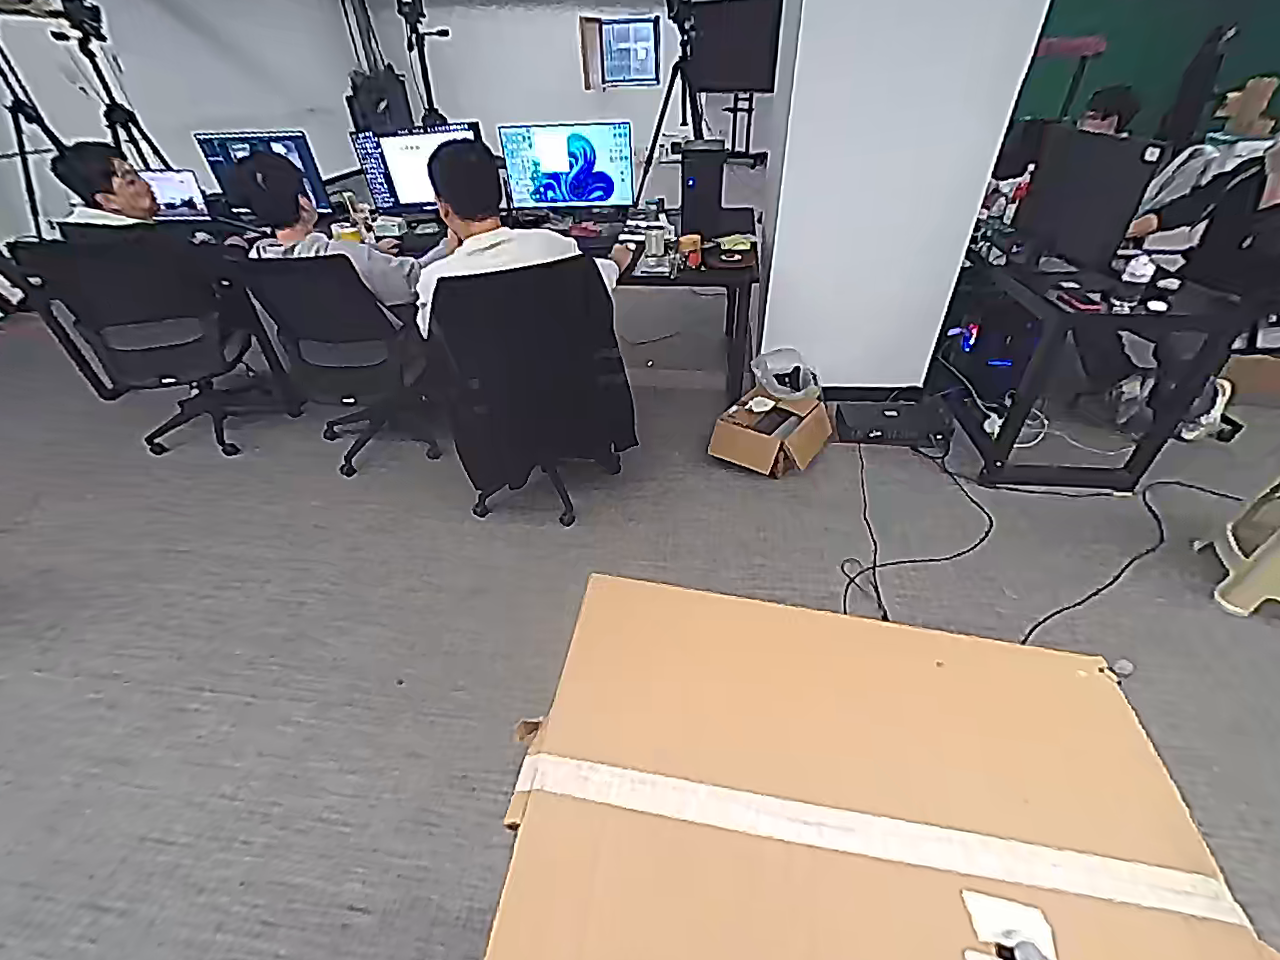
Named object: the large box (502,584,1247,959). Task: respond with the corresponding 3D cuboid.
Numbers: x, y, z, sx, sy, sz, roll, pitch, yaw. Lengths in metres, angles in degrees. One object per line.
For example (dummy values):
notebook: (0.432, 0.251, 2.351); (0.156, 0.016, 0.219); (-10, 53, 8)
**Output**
large box: (0.124, 0.324, 0.425); (0.408, 0.320, 0.320); (9, 43, 3)
